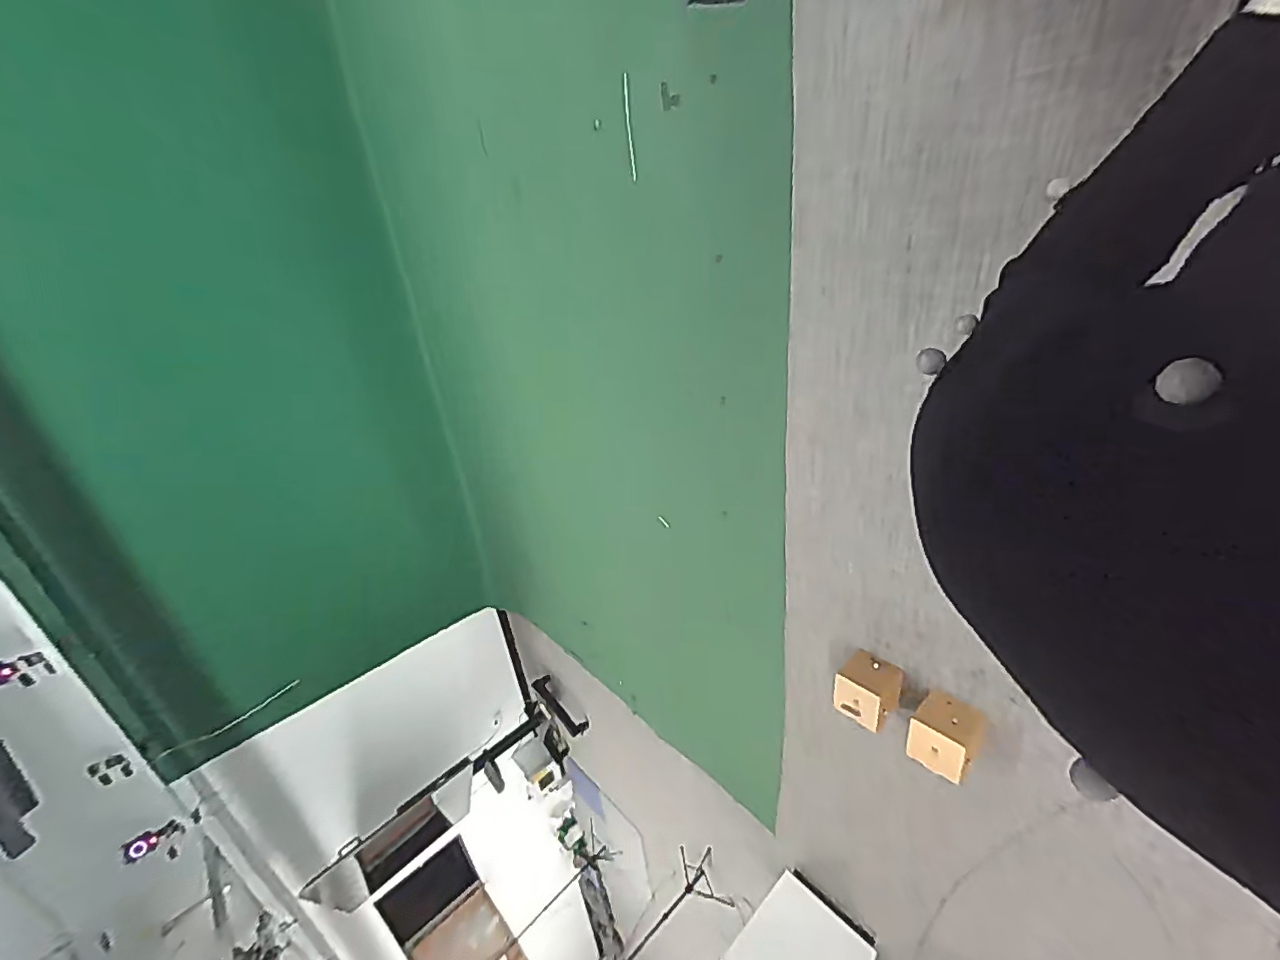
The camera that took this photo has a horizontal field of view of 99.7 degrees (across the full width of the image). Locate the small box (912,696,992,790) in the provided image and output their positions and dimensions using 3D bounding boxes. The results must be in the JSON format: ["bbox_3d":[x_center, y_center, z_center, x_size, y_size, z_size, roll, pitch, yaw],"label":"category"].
[{"bbox_3d":[1.003,0.835,1.735,0.168,0.176,0.179,21,128,45],"label":"small box"}]

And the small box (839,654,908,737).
[{"bbox_3d":[0.828,0.758,1.916,0.168,0.176,0.179,22,127,45],"label":"small box"}]
